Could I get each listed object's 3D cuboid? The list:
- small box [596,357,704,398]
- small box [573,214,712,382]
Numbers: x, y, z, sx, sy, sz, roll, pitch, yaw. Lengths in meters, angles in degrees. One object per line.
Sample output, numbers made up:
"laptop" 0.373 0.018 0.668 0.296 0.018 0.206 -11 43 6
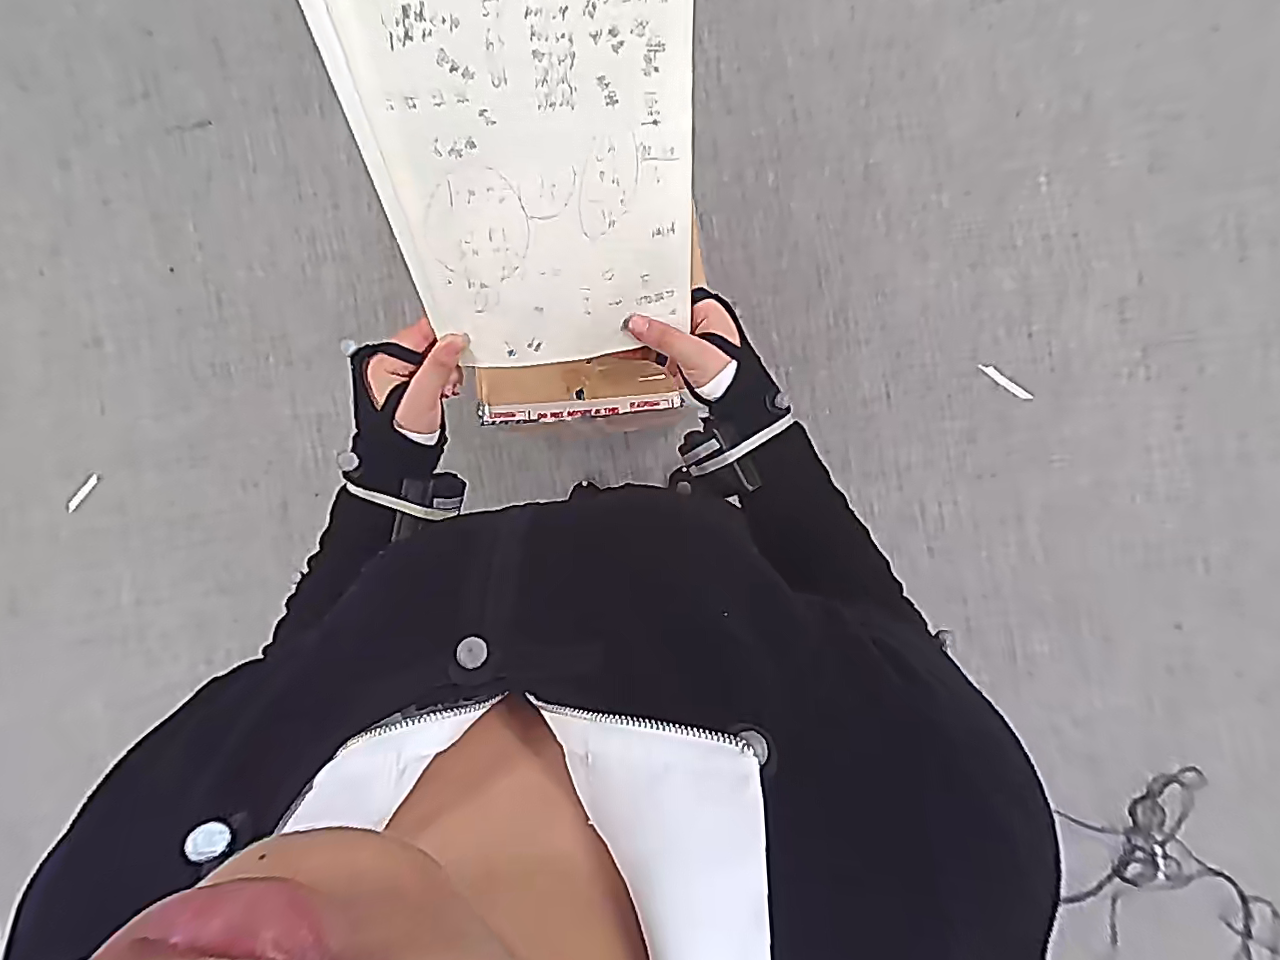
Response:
"small box" 0.004 -0.247 0.947 0.179 0.176 0.168 -11 91 1
"small box" 0.001 -0.252 0.783 0.168 0.176 0.179 -9 91 0
